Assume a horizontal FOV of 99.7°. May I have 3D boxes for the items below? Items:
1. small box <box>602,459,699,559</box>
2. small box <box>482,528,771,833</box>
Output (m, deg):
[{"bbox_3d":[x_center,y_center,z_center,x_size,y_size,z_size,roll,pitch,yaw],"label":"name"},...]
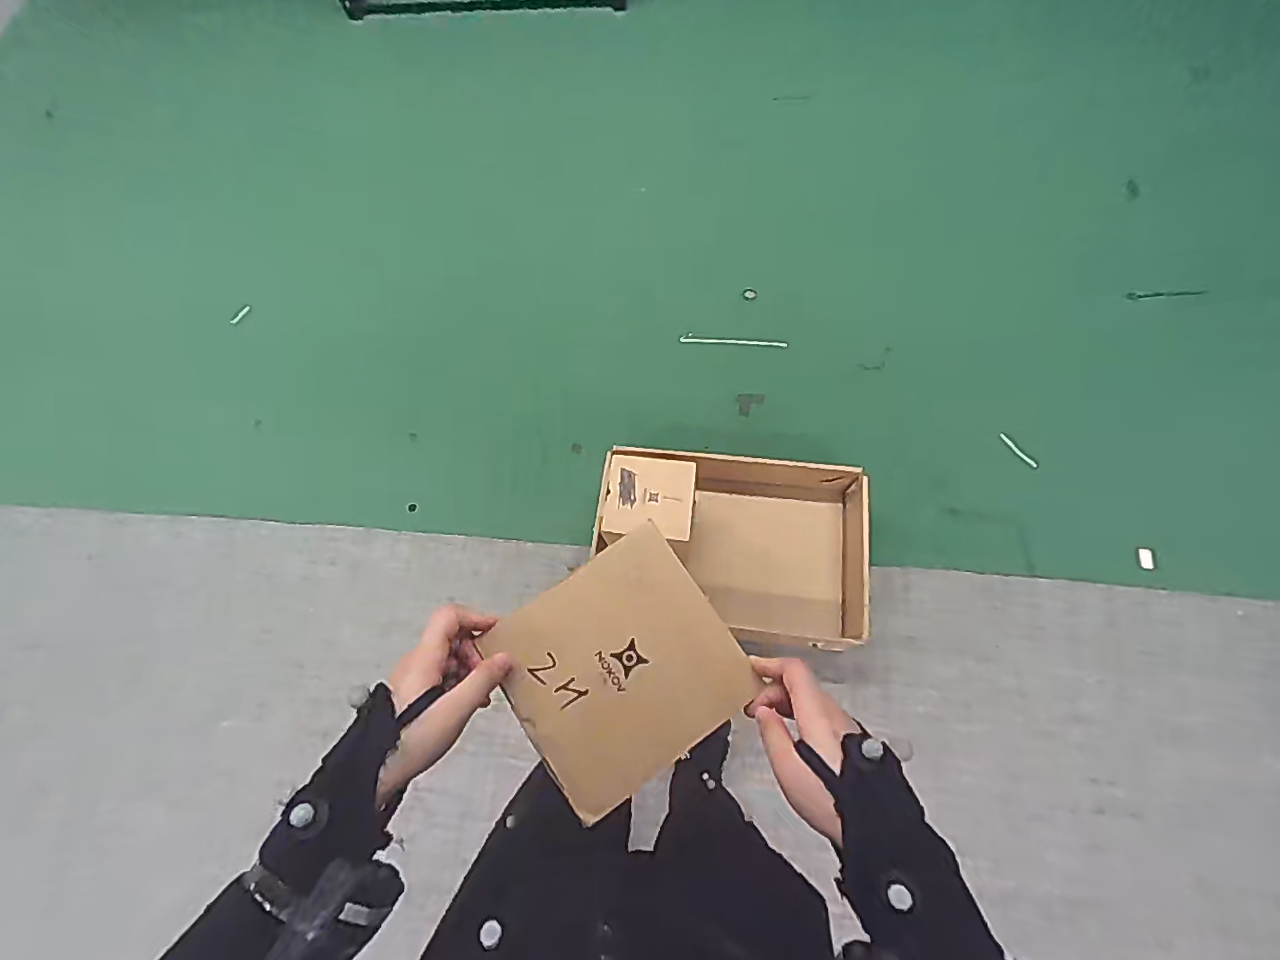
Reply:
[{"bbox_3d":[0.027,0.067,1.141,0.179,0.176,0.168,6,72,5],"label":"small box"},{"bbox_3d":[-0.014,0.168,0.501,0.179,0.176,0.168,-34,79,-10],"label":"small box"}]
